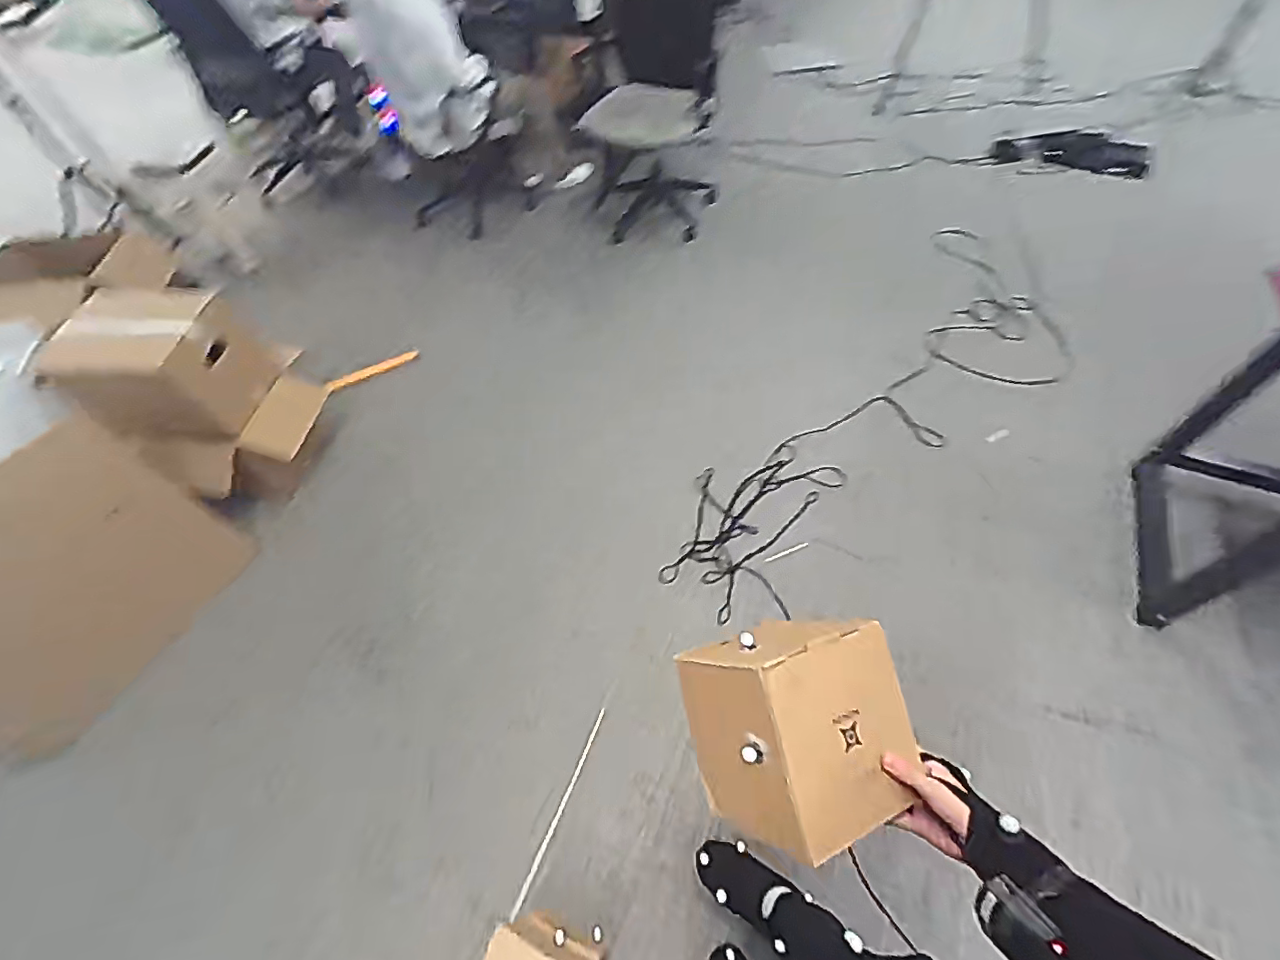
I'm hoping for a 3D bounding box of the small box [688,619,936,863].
[{"bbox_3d":[0.169,0.251,0.575,0.168,0.176,0.179,-7,81,-27],"label":"small box"}]

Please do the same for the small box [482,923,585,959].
[{"bbox_3d":[-0.183,0.874,0.894,0.179,0.176,0.168,18,58,18],"label":"small box"}]

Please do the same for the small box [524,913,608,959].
[{"bbox_3d":[-0.170,0.965,1.030,0.168,0.176,0.179,17,58,17],"label":"small box"}]
